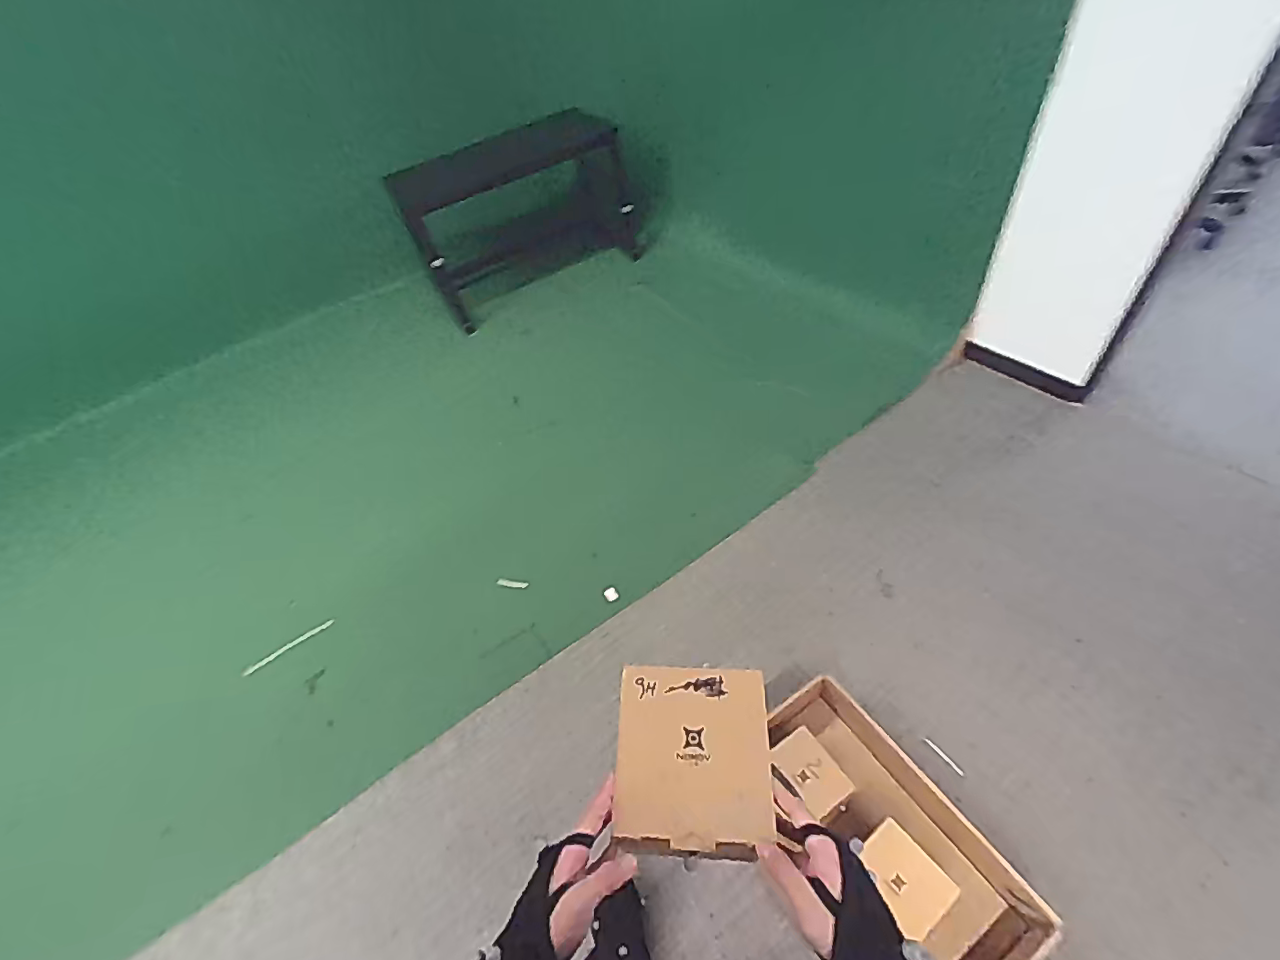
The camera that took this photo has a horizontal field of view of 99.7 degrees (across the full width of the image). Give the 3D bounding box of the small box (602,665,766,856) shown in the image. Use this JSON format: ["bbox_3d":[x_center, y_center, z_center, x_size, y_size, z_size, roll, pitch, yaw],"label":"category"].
[{"bbox_3d":[0.053,0.337,0.645,0.168,0.176,0.179,1,52,4],"label":"small box"}]
